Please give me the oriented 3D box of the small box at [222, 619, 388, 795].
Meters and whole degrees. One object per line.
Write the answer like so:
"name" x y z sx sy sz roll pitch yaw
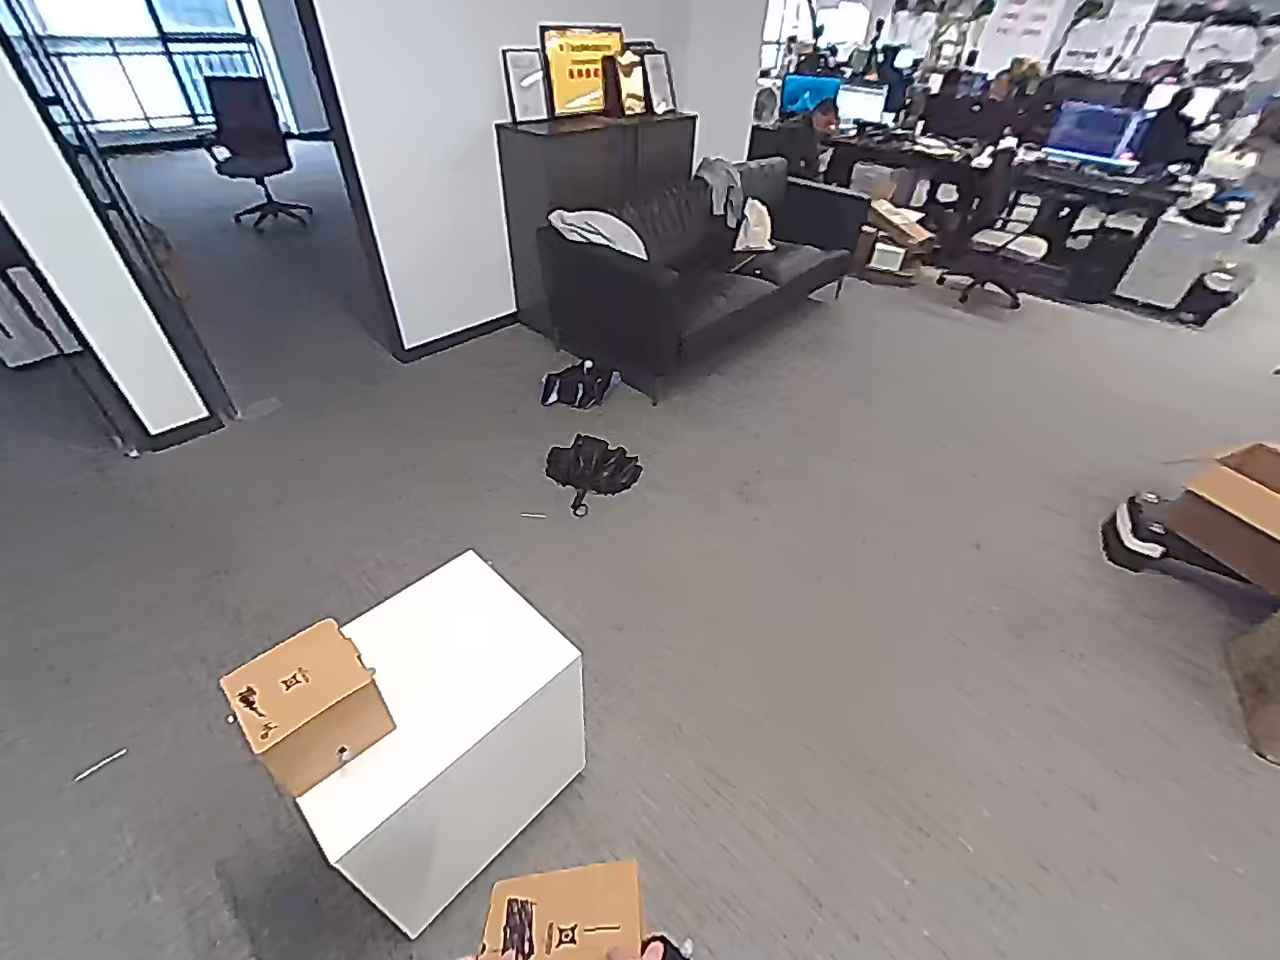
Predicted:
"small box" -0.547 0.378 0.908 0.168 0.176 0.179 34 48 31

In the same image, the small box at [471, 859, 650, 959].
"small box" -0.079 0.559 0.580 0.179 0.176 0.168 -7 9 -2
